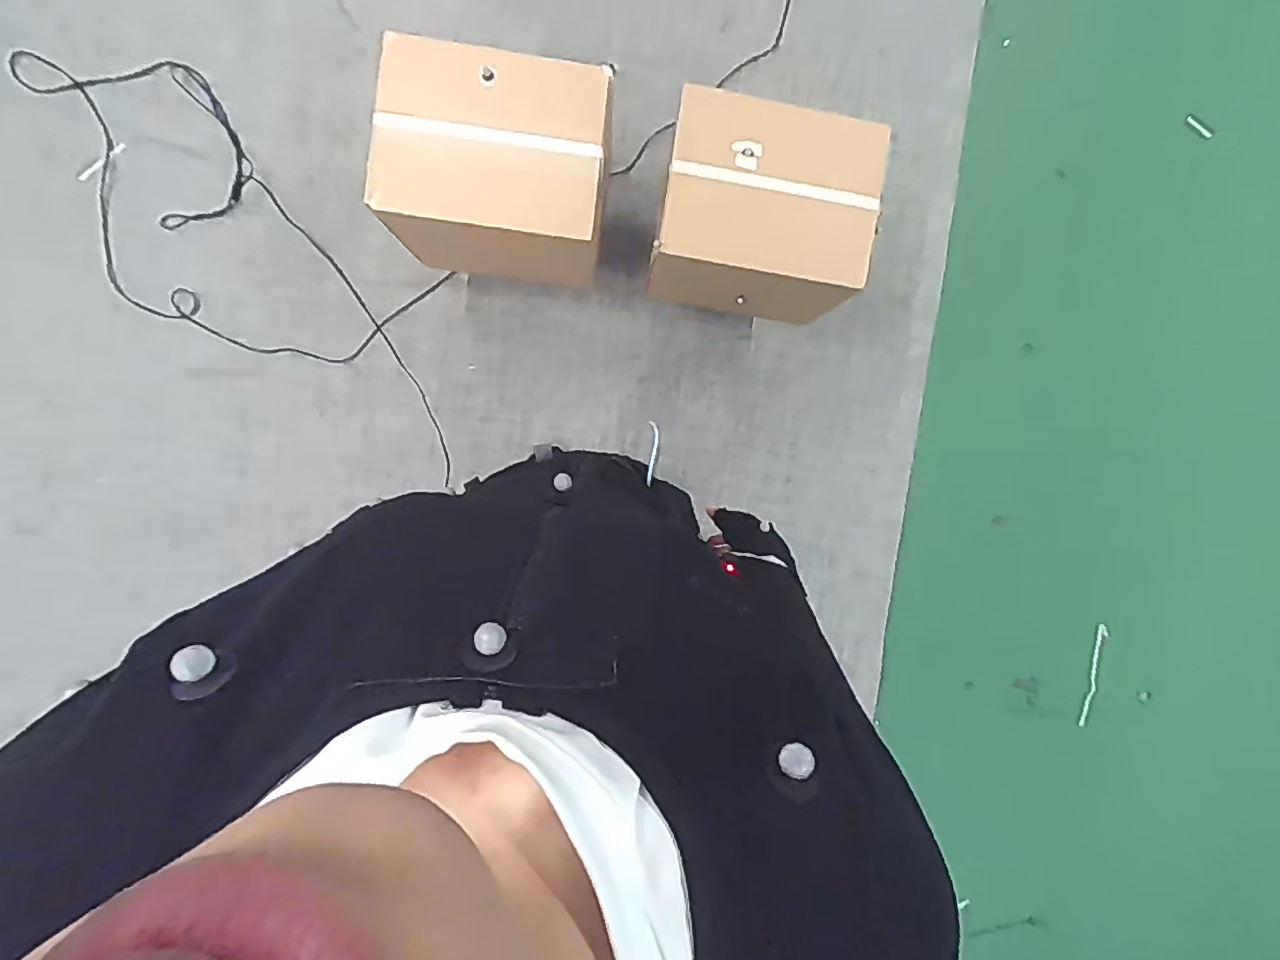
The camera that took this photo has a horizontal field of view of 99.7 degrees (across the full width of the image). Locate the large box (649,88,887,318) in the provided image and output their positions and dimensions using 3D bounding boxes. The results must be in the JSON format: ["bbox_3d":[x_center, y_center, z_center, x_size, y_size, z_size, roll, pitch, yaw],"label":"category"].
[{"bbox_3d":[0.248,-0.564,1.174,0.408,0.320,0.320,9,93,-4],"label":"large box"}]
